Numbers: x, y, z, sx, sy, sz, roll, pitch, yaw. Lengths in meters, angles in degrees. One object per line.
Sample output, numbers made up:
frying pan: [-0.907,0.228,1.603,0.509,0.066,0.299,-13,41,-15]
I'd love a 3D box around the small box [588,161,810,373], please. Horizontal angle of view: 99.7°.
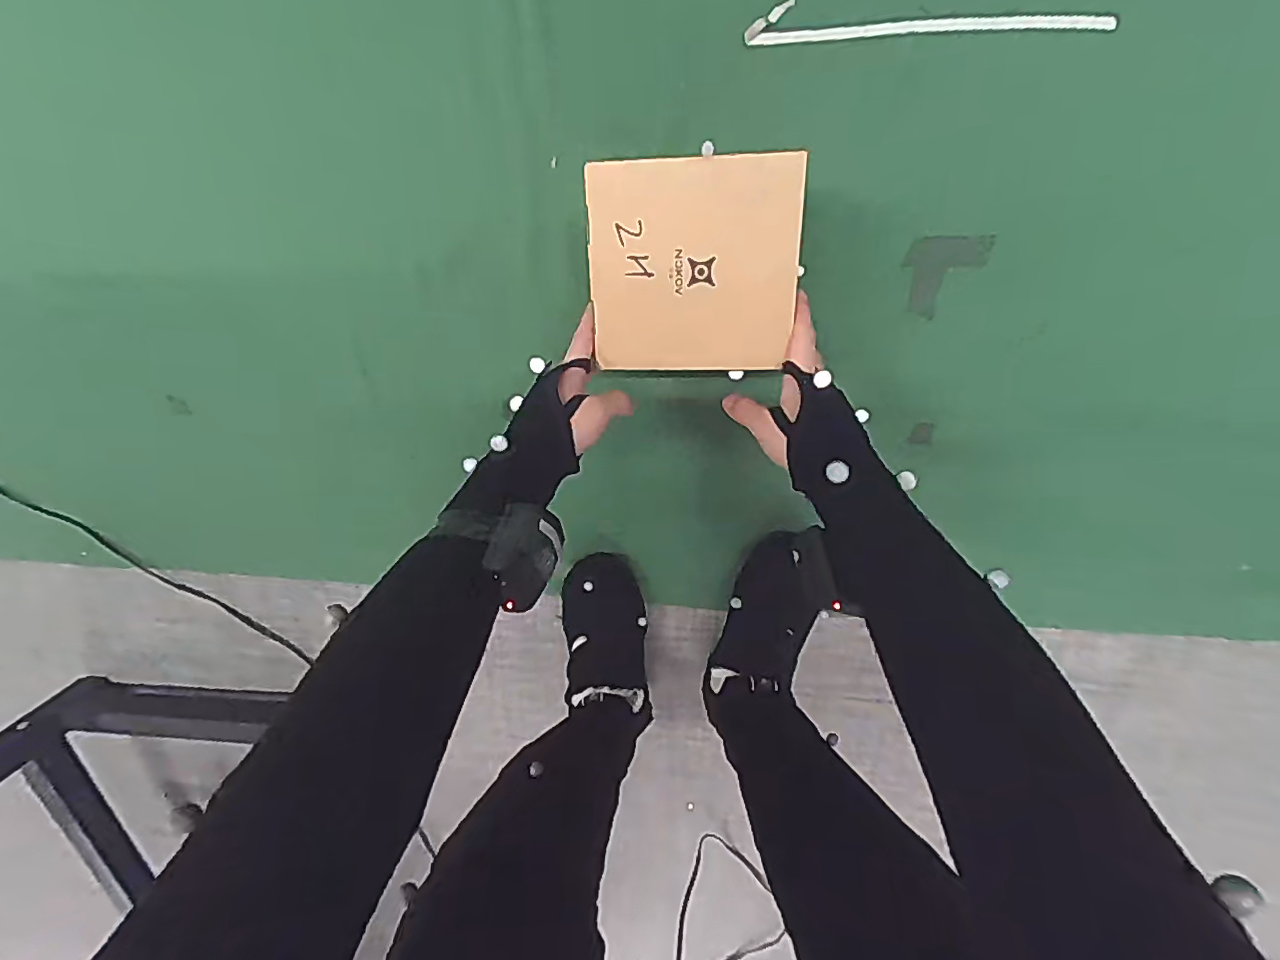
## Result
small box: [0.056,-0.203,0.523,0.179,0.176,0.168,2,113,8]
